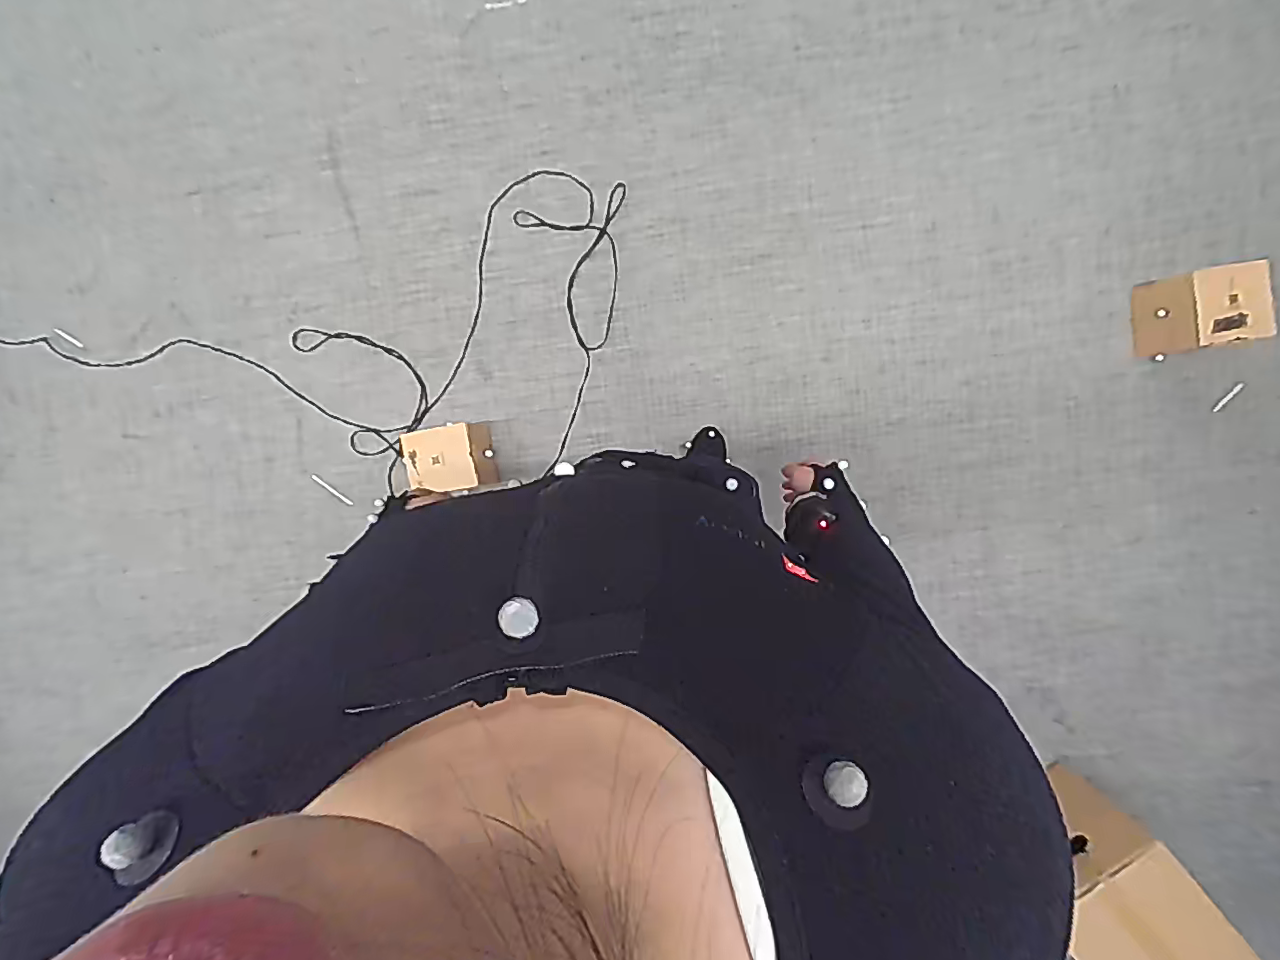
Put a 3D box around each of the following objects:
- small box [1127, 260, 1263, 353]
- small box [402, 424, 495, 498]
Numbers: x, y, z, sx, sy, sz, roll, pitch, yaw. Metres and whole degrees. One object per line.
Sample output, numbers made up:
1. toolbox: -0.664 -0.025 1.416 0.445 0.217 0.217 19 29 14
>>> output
1. small box: 1.343 -0.413 1.319 0.168 0.176 0.179 -7 93 4
2. small box: -0.495 -0.053 1.429 0.179 0.176 0.168 -11 93 3
